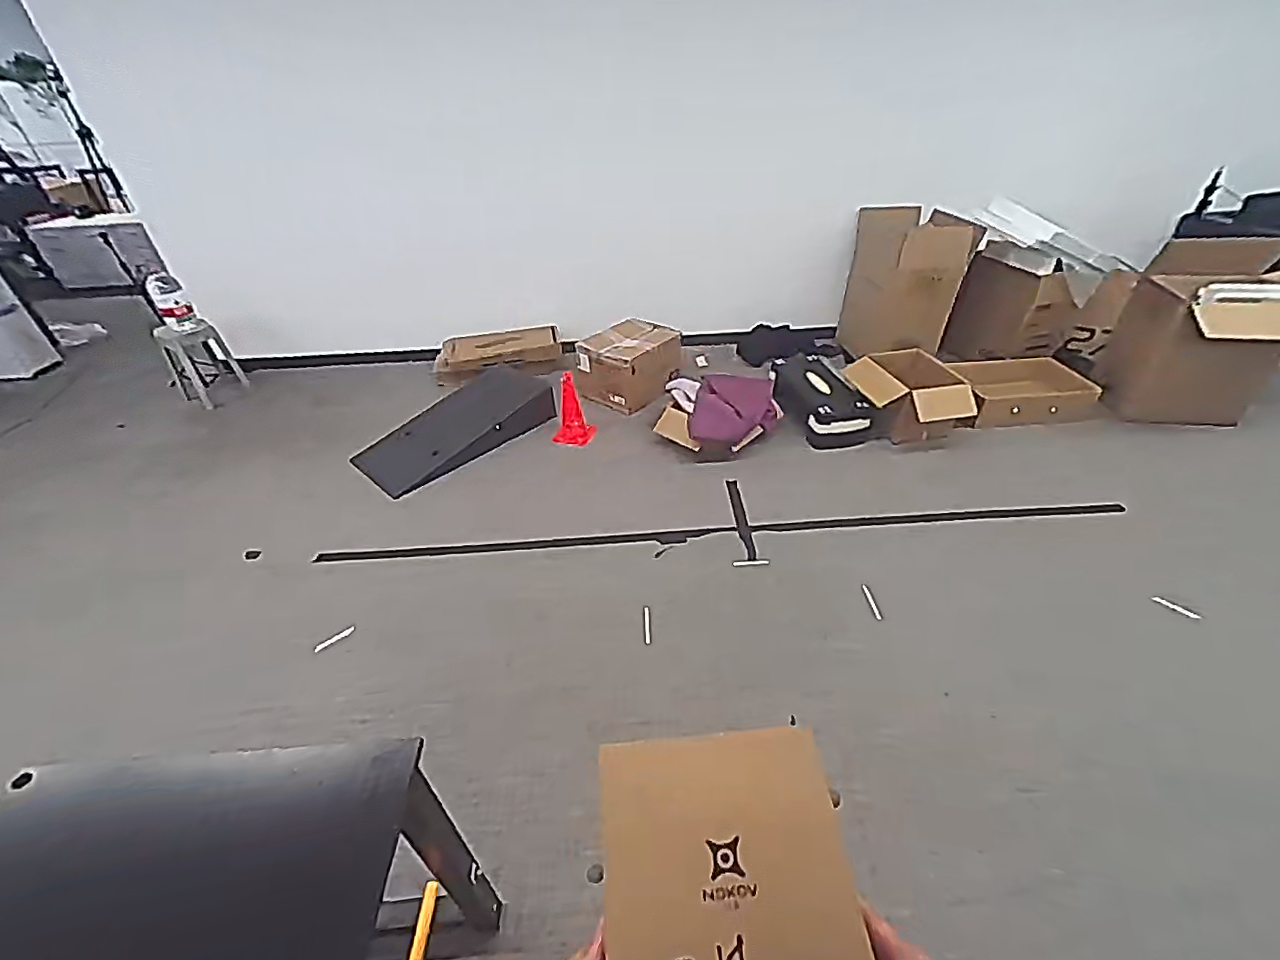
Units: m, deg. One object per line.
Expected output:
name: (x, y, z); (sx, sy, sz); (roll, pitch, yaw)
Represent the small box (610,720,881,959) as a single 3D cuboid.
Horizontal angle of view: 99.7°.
small box: (0.066, 0.309, 0.424); (0.168, 0.176, 0.179); (-6, 51, 0)
